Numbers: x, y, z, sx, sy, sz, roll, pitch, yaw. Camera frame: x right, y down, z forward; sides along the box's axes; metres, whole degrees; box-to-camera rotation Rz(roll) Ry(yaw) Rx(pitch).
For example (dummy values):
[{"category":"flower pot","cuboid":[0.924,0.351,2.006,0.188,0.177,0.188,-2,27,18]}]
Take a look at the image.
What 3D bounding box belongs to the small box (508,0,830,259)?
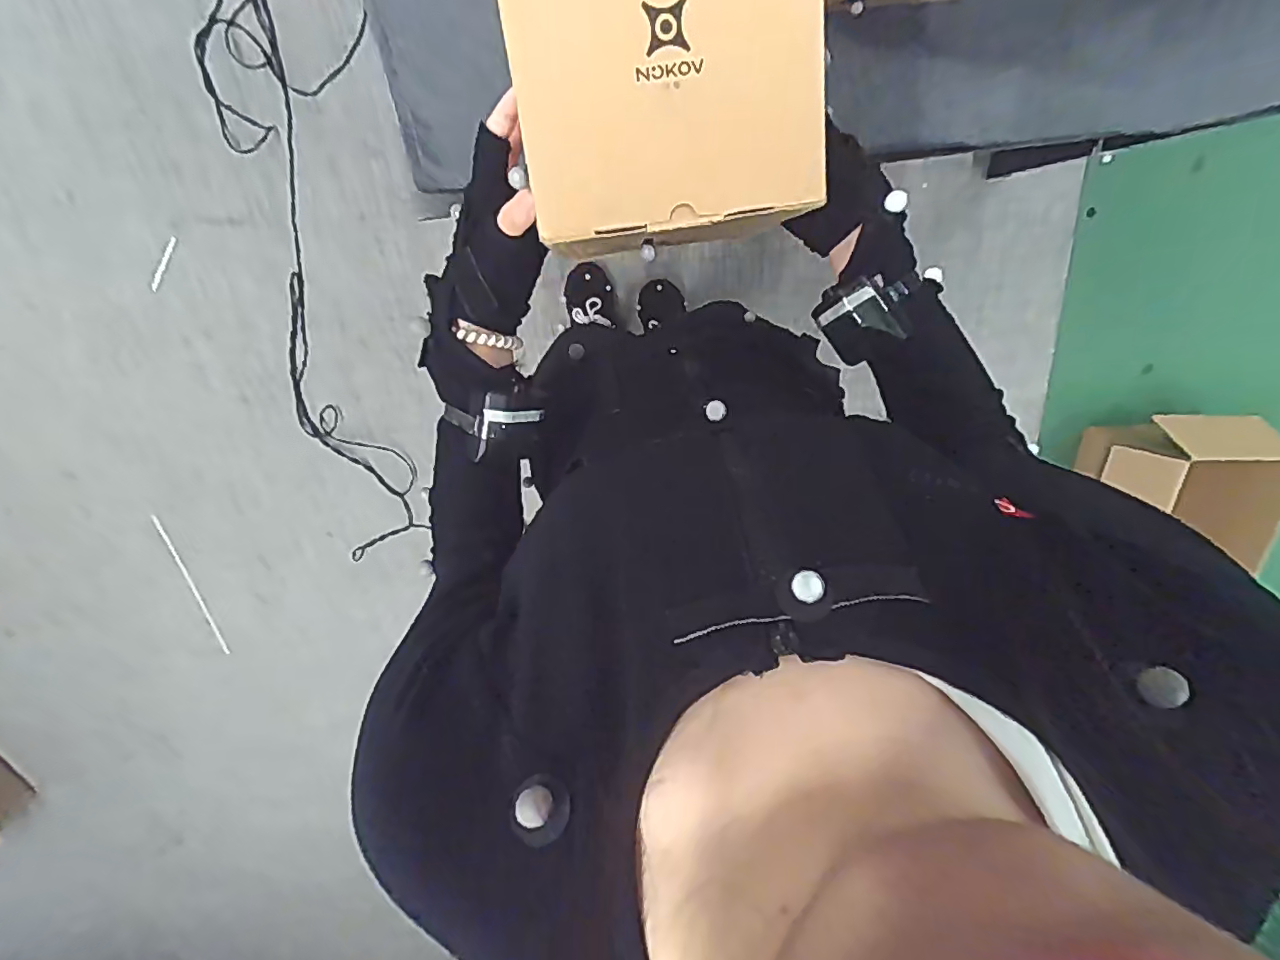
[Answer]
[{"category":"small box","cuboid":[0.010,-0.251,0.352,0.168,0.176,0.179,-9,110,-1]}]
